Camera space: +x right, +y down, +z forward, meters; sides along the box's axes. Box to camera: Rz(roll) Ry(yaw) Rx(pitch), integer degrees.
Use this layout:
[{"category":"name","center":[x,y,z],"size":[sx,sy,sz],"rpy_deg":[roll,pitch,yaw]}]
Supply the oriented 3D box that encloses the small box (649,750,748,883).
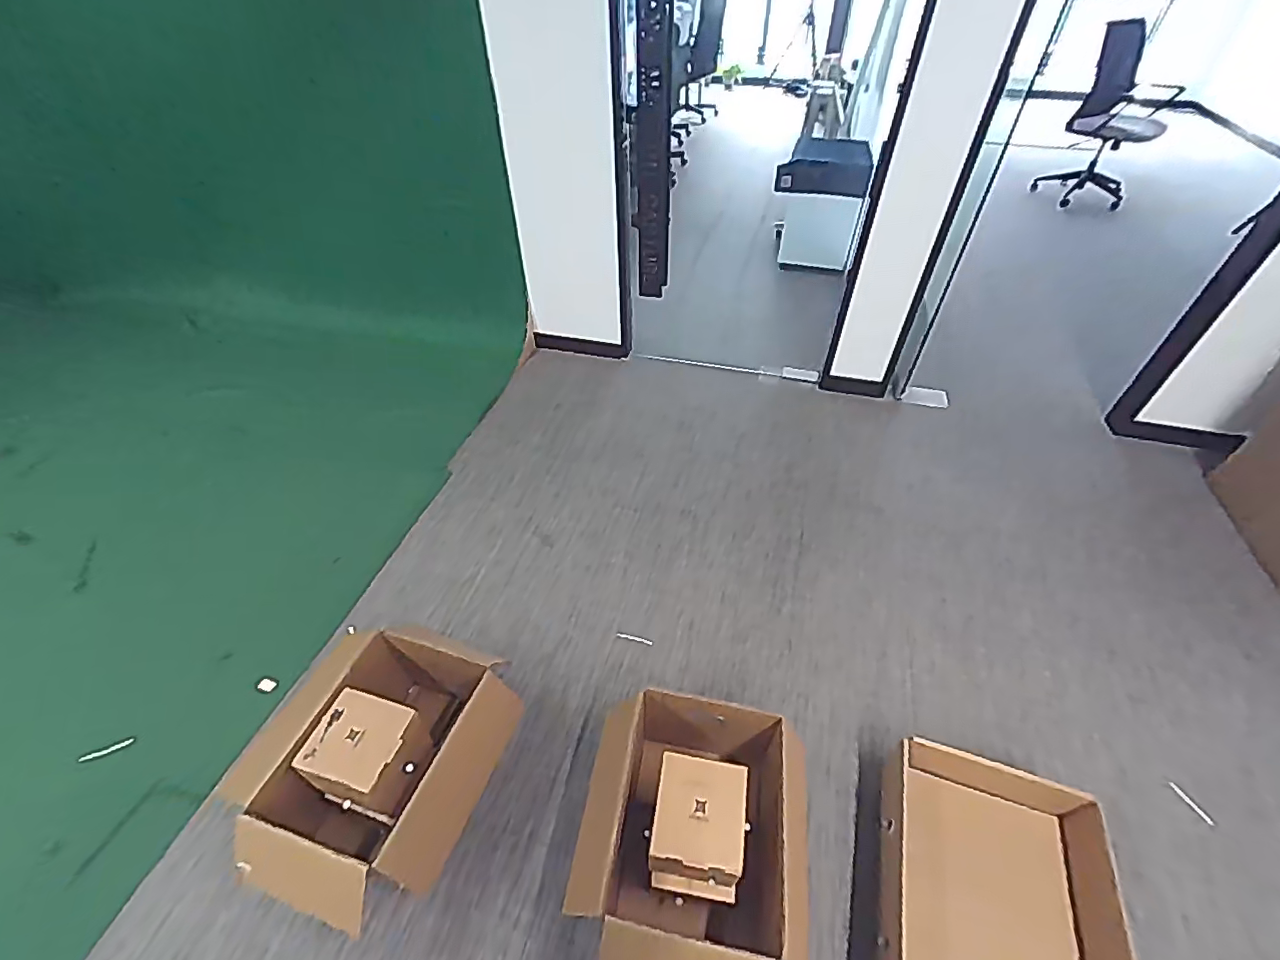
[{"category":"small box","center":[0.112,0.657,1.052],"size":[0.168,0.176,0.179],"rpy_deg":[8,48,7]}]
